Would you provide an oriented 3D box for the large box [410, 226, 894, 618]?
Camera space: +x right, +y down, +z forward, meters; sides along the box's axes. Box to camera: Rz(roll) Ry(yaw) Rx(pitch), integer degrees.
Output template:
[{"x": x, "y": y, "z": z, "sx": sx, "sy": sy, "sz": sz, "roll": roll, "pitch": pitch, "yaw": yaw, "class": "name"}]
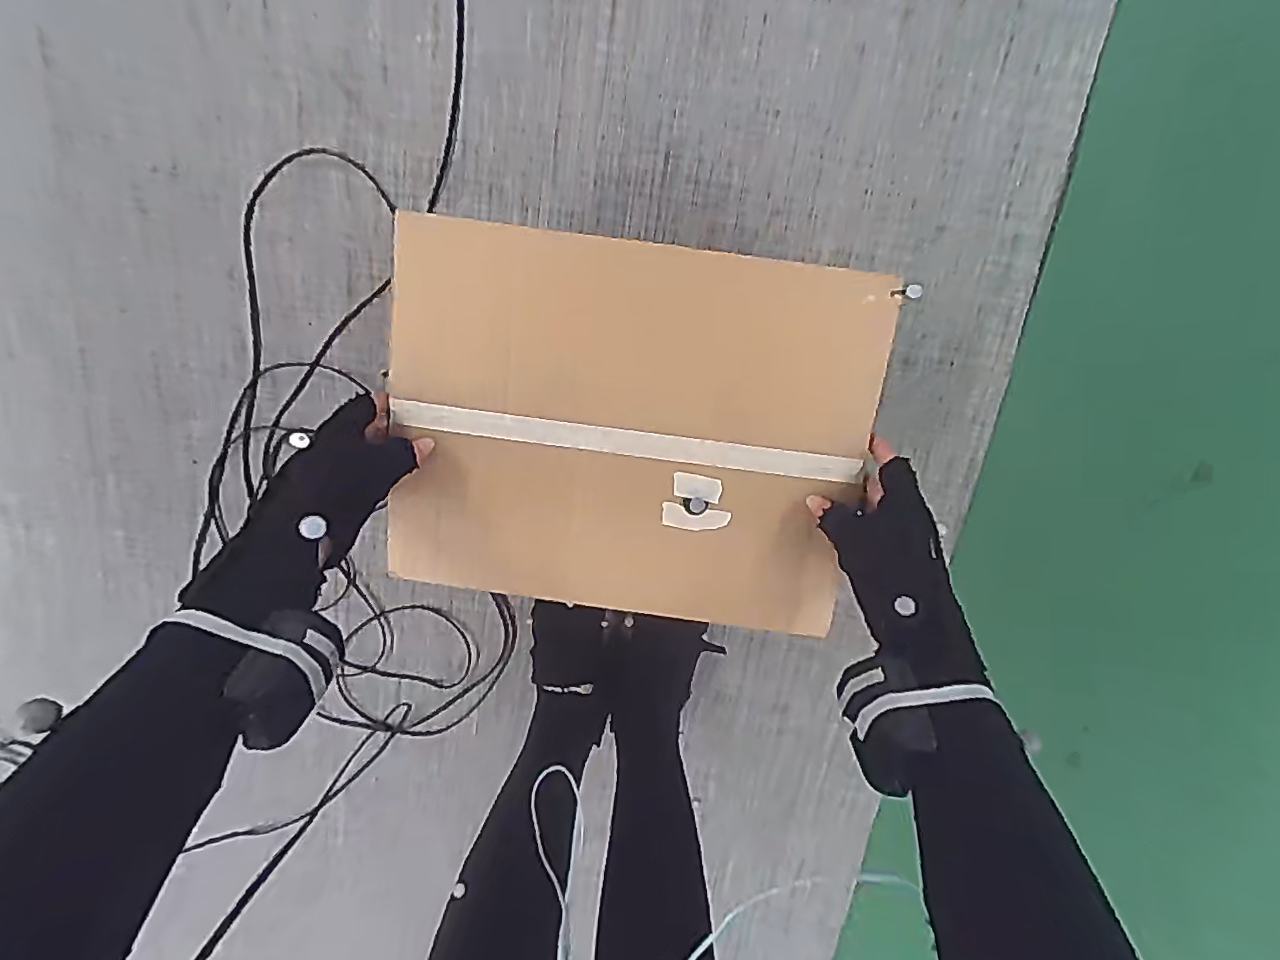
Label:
[{"x": 0.000, "y": -0.070, "z": 0.621, "sx": 0.408, "sy": 0.320, "sz": 0.320, "roll": 7, "pitch": 103, "yaw": 0, "class": "large box"}]
